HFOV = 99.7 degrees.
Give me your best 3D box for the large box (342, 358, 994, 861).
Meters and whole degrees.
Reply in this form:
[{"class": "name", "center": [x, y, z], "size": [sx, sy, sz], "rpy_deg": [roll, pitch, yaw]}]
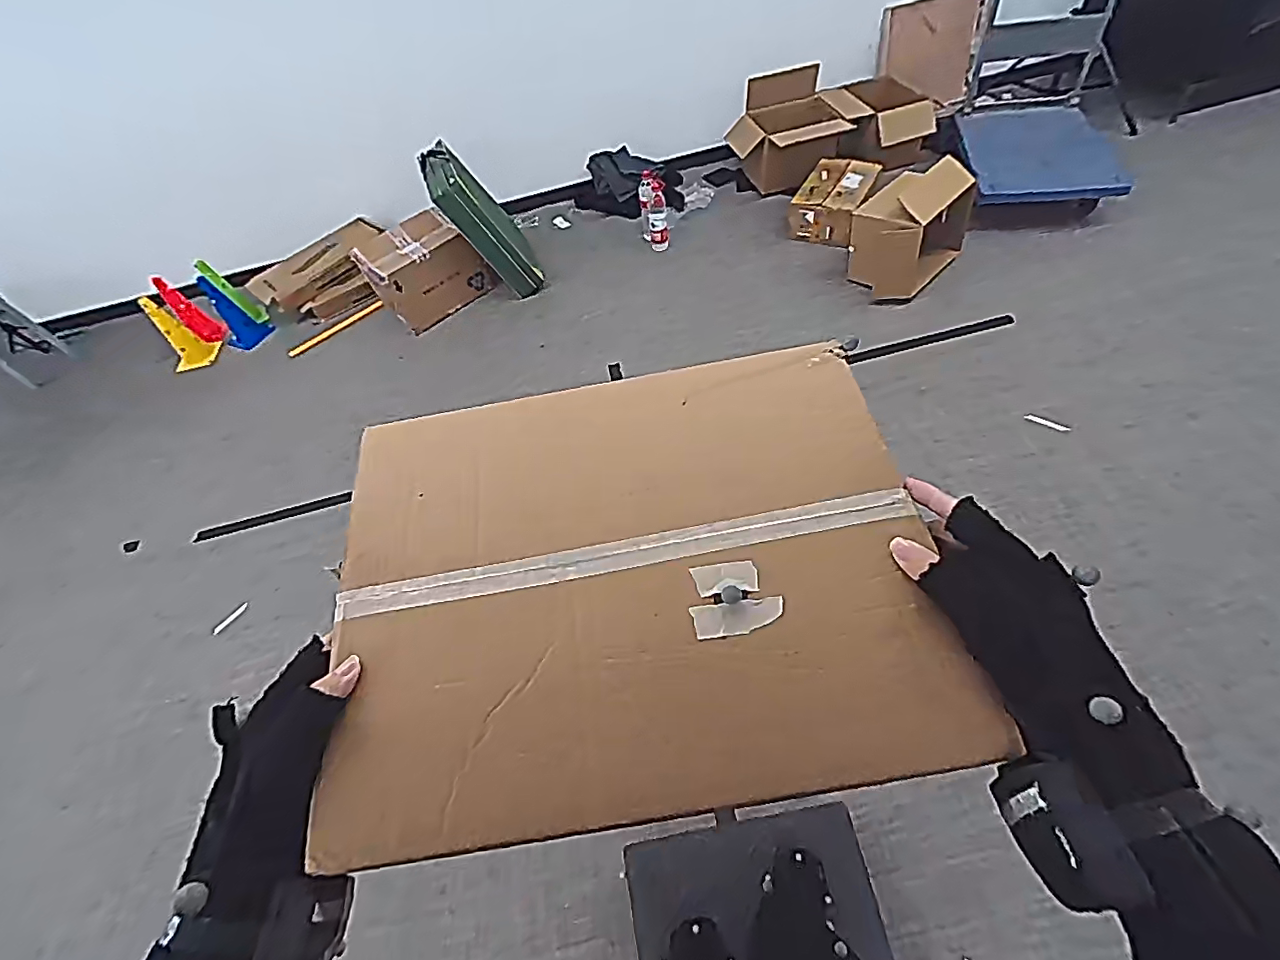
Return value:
[{"class": "large box", "center": [0.007, 0.134, 0.521], "size": [0.408, 0.320, 0.320], "rpy_deg": [-10, 60, 1]}]
